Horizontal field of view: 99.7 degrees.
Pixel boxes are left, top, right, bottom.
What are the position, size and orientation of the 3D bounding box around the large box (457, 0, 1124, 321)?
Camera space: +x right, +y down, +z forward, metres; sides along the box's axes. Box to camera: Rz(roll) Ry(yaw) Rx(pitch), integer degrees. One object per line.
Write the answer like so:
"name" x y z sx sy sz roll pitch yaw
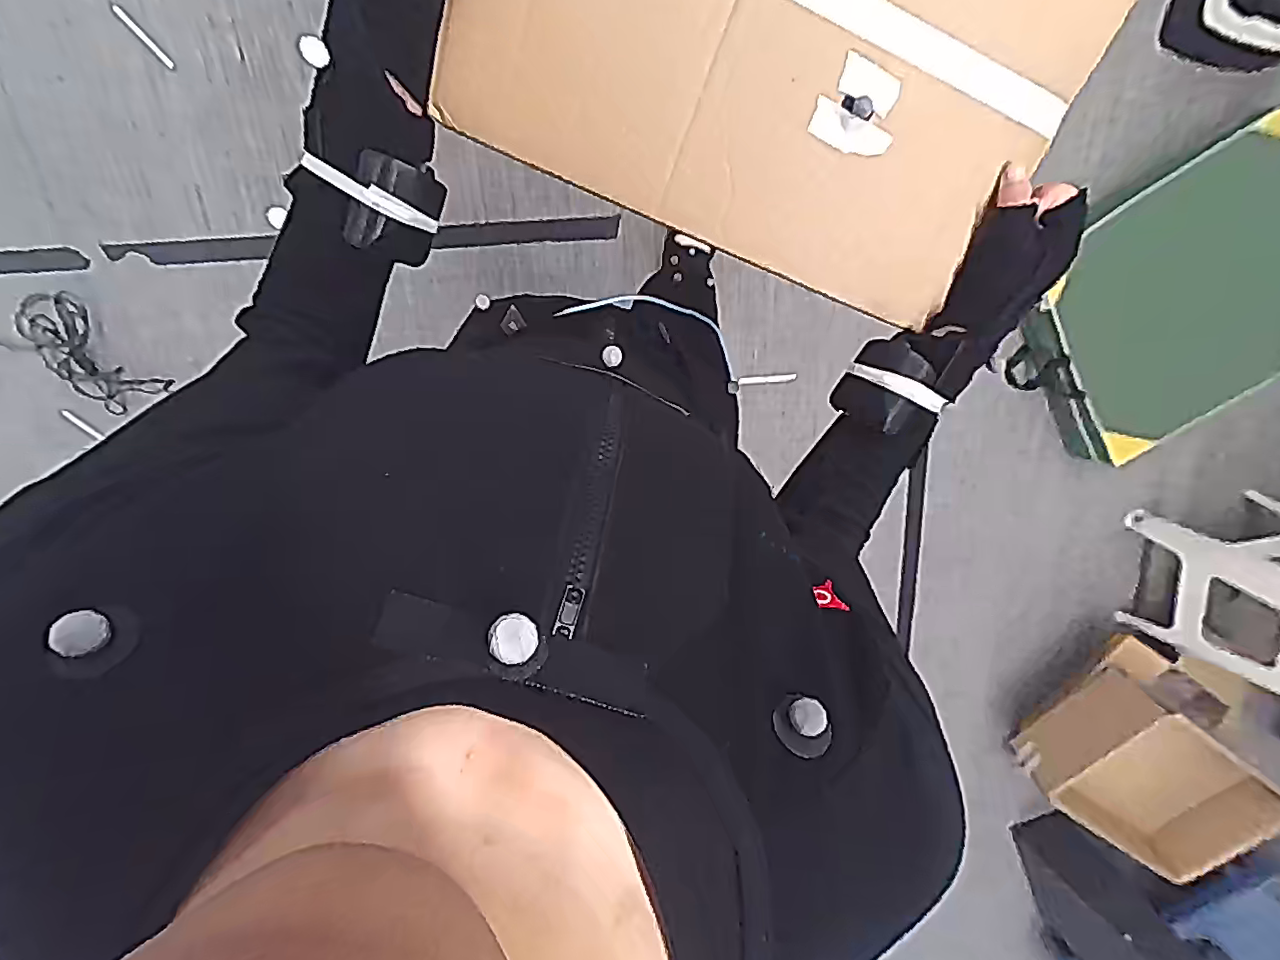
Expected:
"large box" 0.100 -0.385 0.483 0.408 0.320 0.320 19 116 -12
